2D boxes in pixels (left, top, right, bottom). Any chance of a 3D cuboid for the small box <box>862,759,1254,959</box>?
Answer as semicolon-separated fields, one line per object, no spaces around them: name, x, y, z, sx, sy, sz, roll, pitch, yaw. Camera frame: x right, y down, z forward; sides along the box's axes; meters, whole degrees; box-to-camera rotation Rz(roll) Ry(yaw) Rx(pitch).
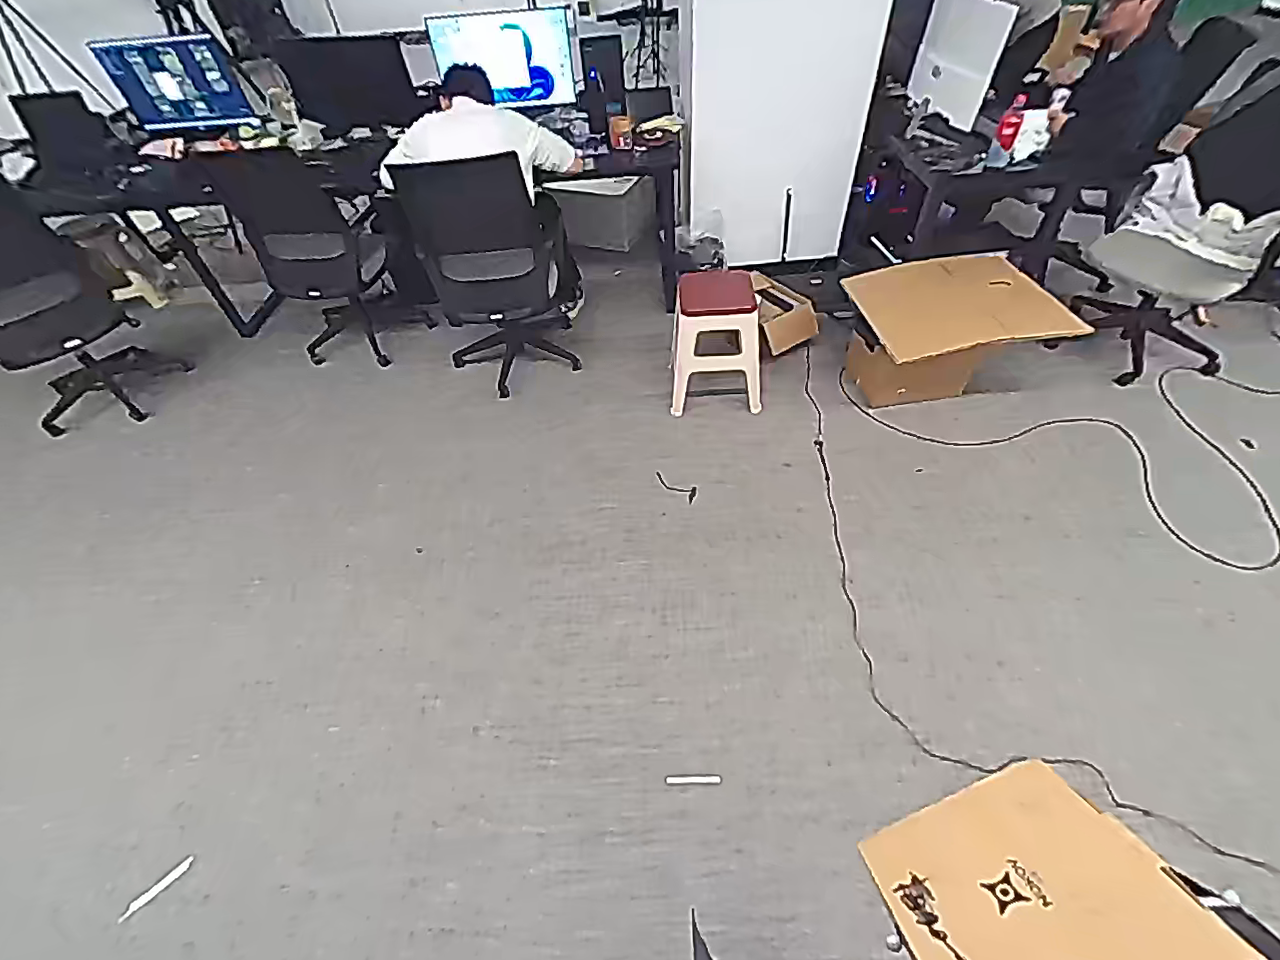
small box;0.311;0.367;0.413;0.179;0.176;0.168;-26;11;2
